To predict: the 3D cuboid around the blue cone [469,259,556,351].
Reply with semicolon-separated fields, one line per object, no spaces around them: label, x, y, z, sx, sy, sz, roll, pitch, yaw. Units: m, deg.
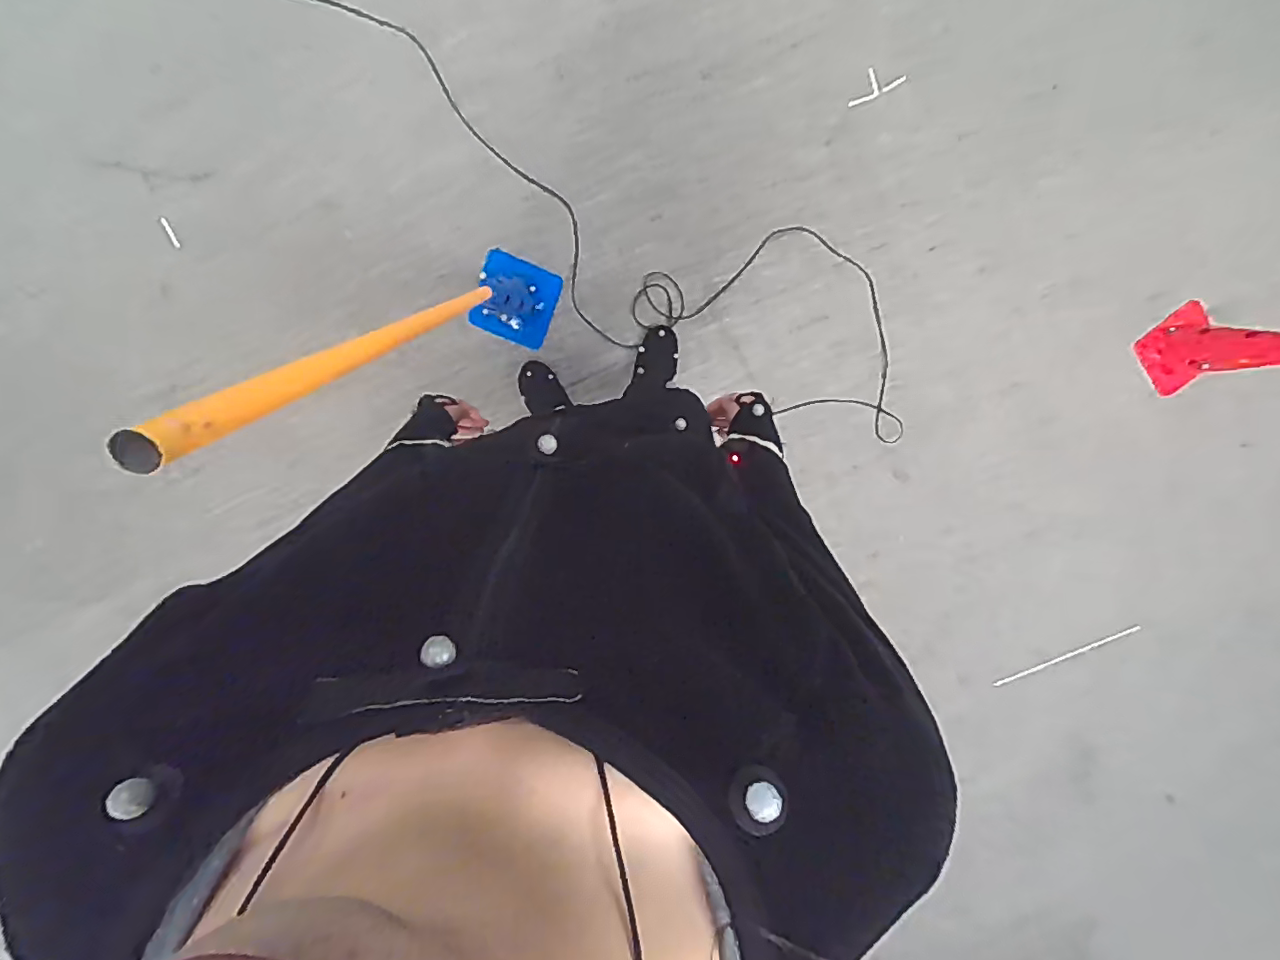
blue cone;-0.310;-0.391;1.208;0.192;0.380;0.193;20;104;-9
